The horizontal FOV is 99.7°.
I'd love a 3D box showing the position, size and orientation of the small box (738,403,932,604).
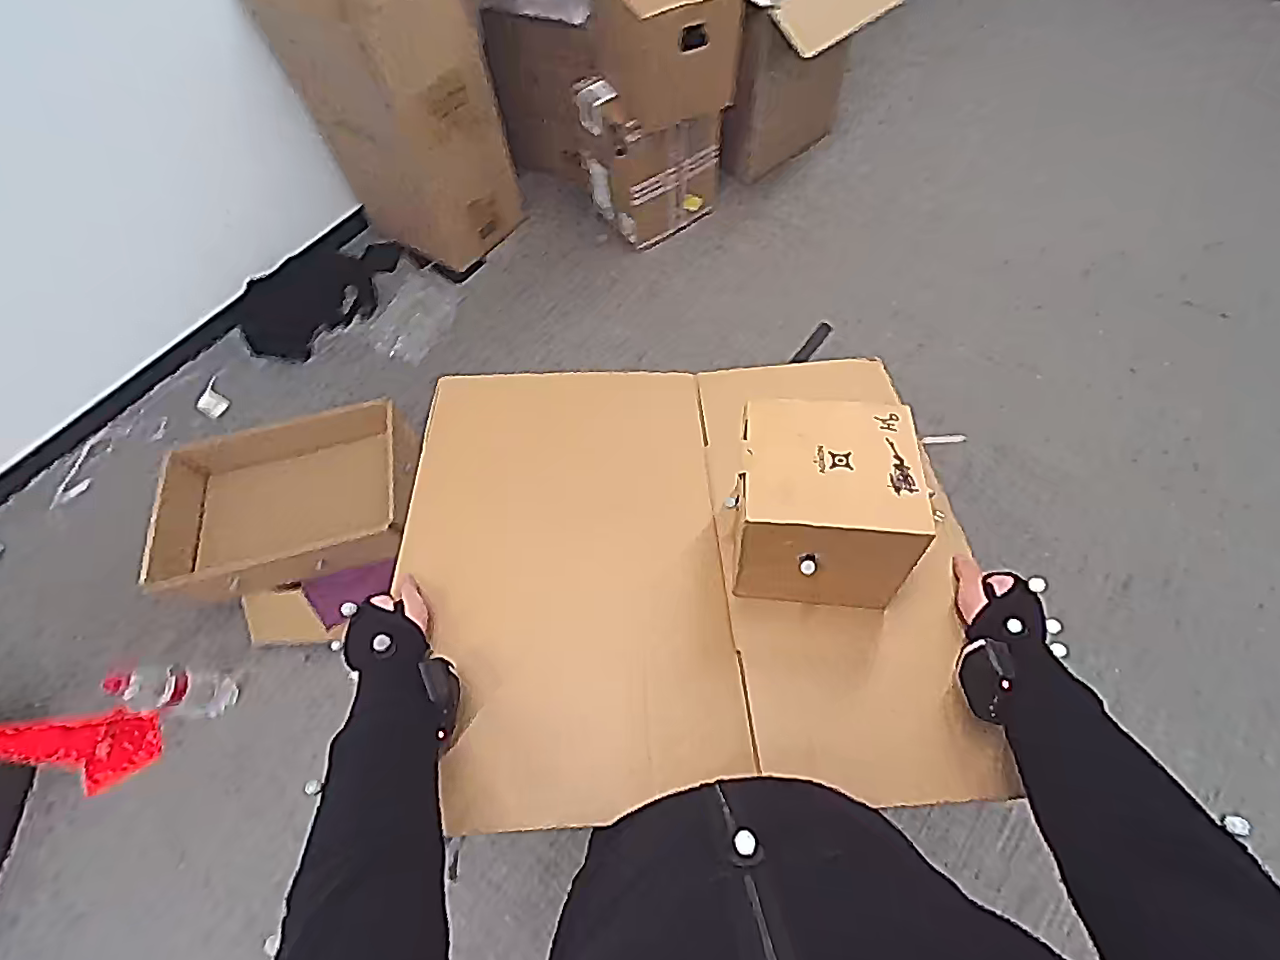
[{"bbox_3d":[0.206,0.030,0.622,0.179,0.176,0.168,3,55,9],"label":"small box"}]
